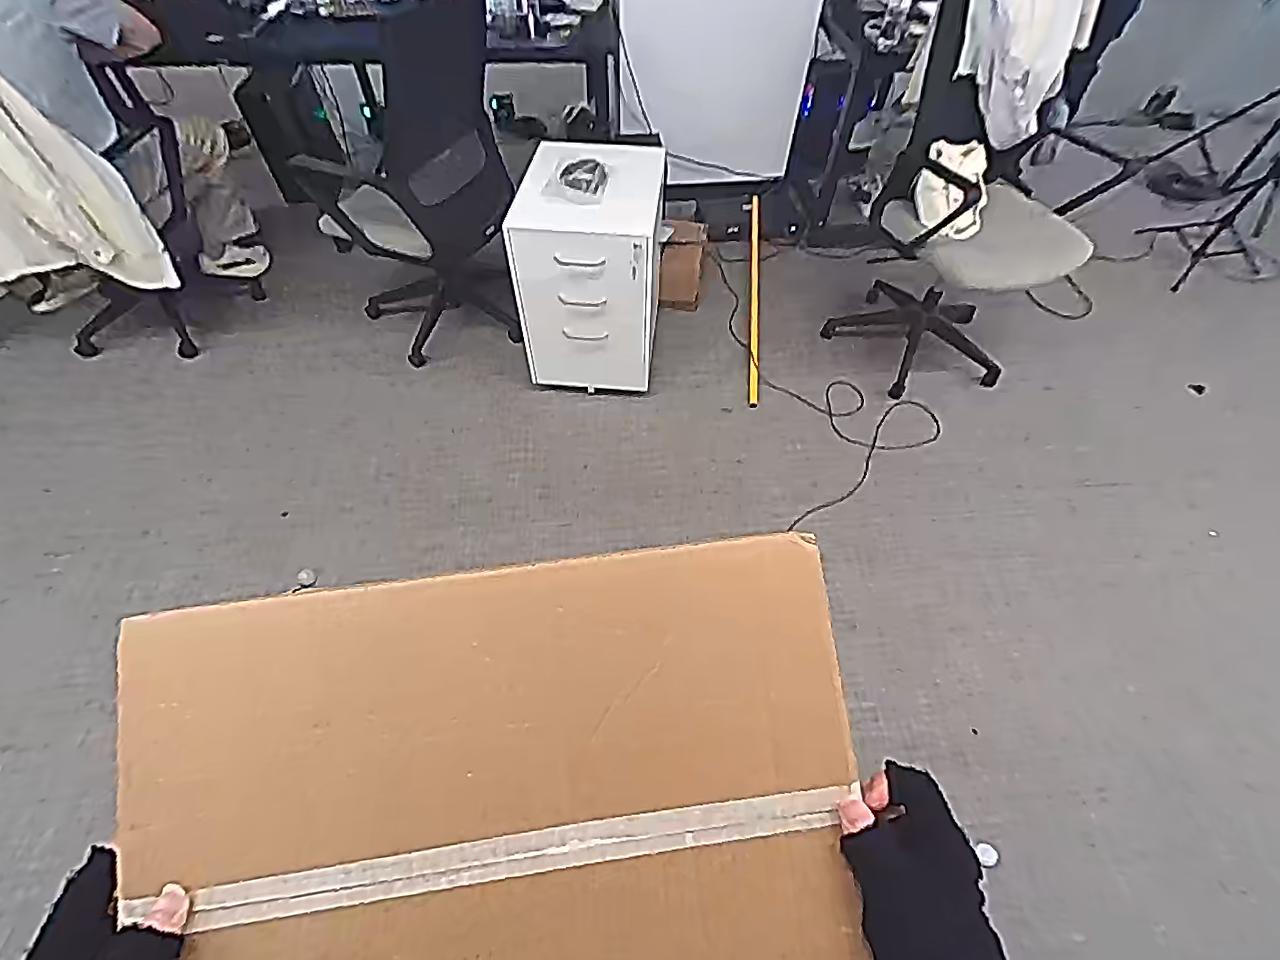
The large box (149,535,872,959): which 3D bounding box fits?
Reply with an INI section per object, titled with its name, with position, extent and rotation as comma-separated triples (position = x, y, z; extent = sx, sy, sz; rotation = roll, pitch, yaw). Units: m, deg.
[large box]
position = -0.082, 0.233, 0.459
extent = 0.408, 0.320, 0.320
rotation = -7, 83, -3
